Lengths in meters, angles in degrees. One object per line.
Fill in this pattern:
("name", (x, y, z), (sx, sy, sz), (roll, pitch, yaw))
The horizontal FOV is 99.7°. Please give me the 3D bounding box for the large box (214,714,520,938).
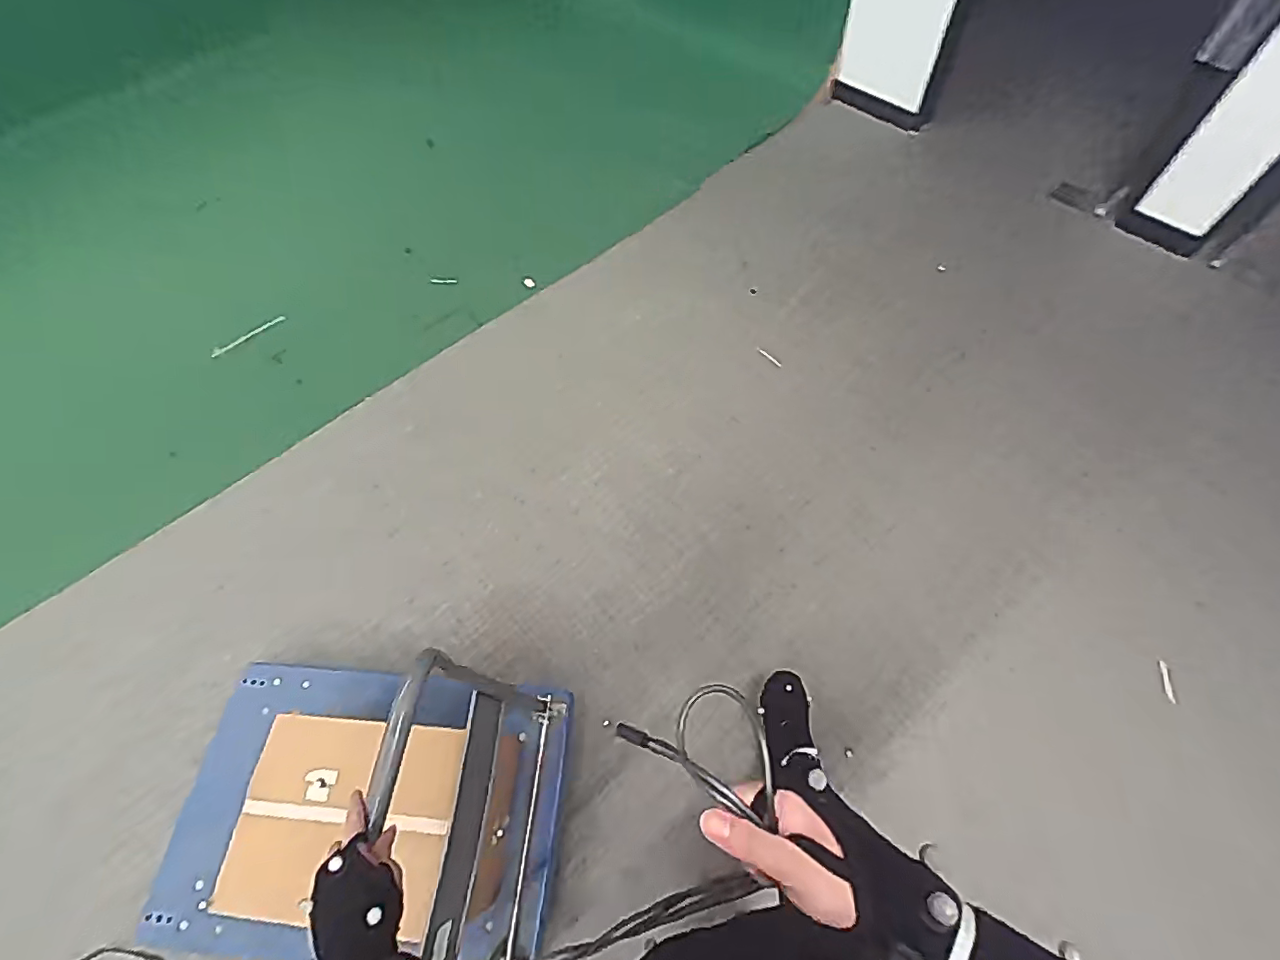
("large box", (-0.495, 0.659, 1.083), (0.408, 0.320, 0.320), (2, 62, 8))
